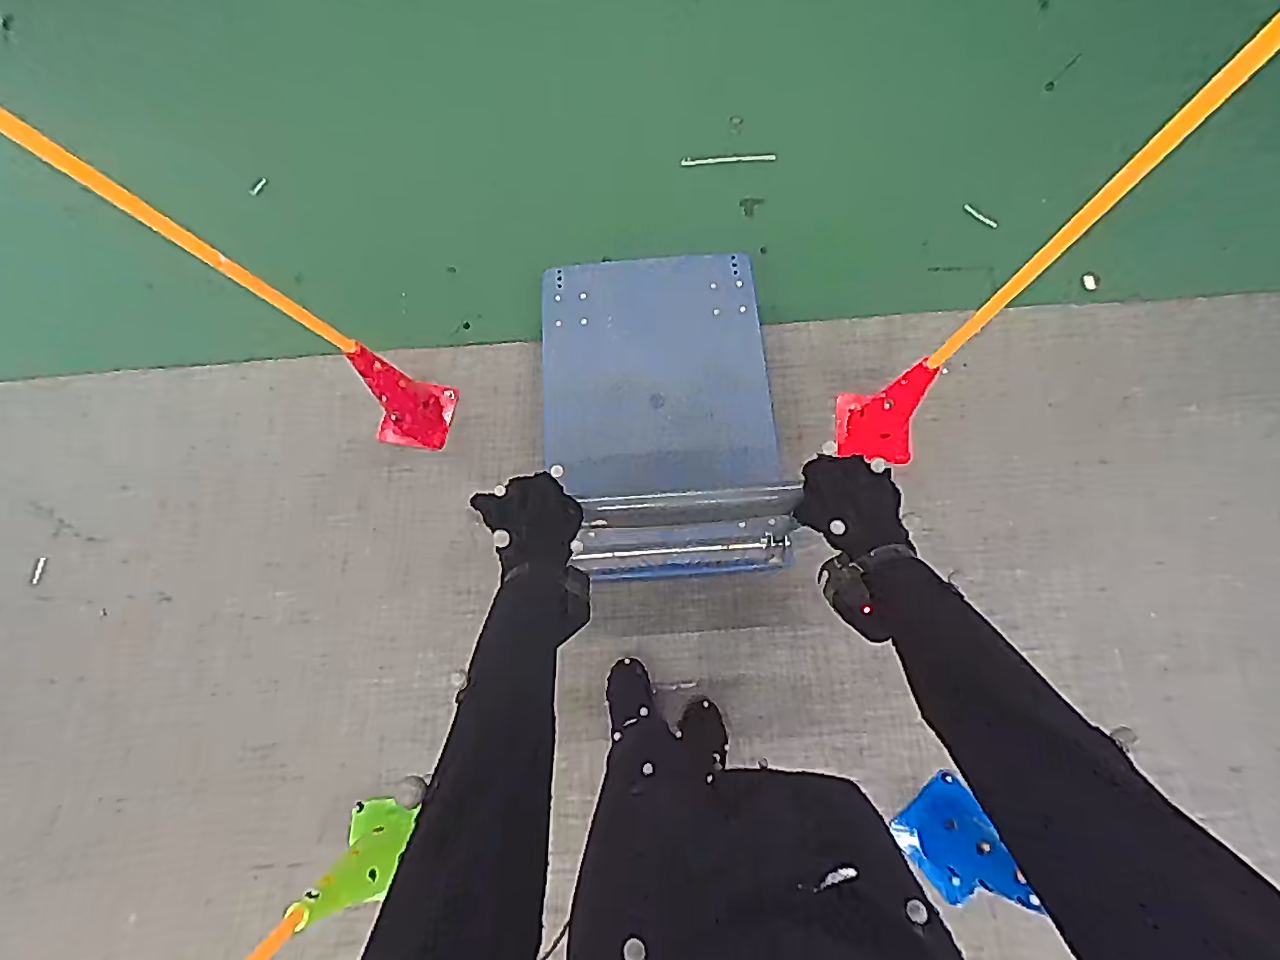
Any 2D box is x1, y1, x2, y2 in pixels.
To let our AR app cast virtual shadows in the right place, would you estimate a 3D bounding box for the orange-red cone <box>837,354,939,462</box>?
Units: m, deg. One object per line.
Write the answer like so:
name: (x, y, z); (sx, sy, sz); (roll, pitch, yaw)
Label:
orange-red cone: (0.641, -0.202, 1.336); (0.198, 0.360, 0.199); (7, 73, 5)
